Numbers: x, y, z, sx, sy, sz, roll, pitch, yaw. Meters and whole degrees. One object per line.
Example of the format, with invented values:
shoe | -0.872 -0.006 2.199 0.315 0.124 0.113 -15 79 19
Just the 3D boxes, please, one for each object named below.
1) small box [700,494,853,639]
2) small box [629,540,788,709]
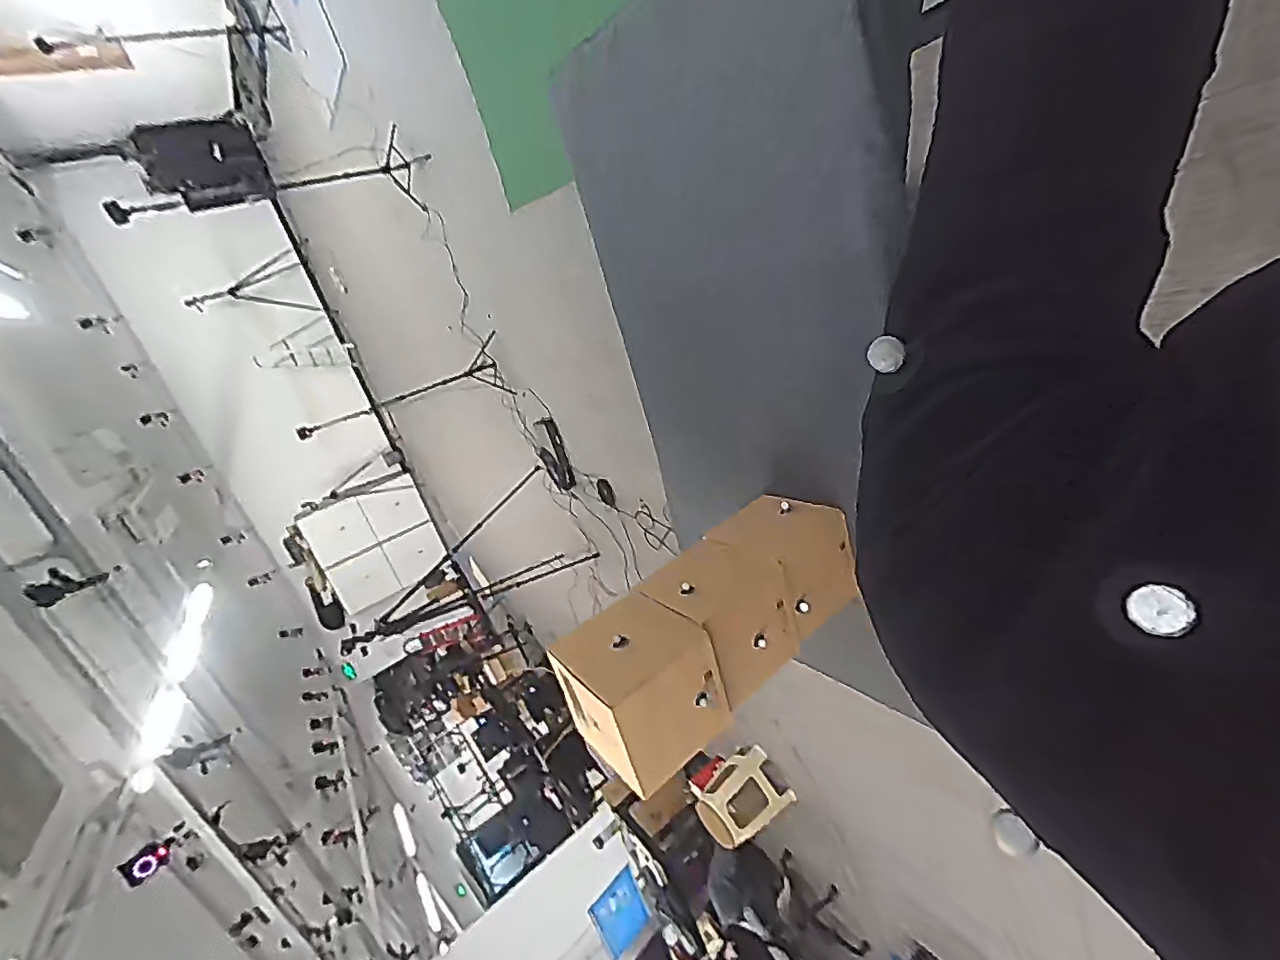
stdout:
small box | 0.237 0.137 0.937 0.179 0.176 0.168 12 125 55
small box | 0.115 0.213 0.856 0.179 0.176 0.168 13 125 54
